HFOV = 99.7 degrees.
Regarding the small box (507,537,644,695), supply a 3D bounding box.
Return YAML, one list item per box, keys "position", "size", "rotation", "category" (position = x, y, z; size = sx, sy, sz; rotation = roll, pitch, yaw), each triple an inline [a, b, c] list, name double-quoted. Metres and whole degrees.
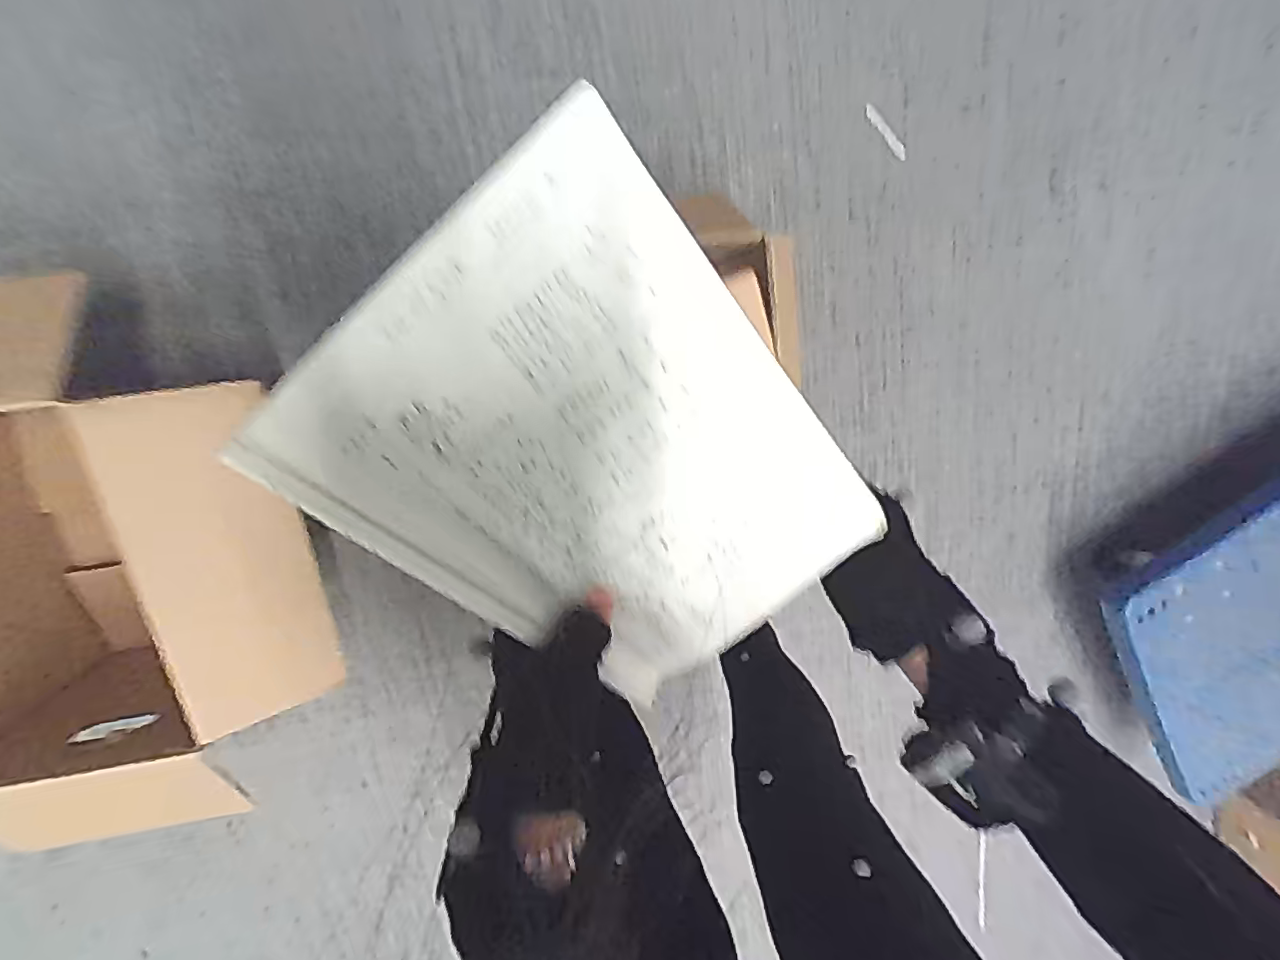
- position: [-0.109, 0.225, 0.915]
  size: [0.179, 0.176, 0.168]
  rotation: [20, 110, 5]
  category: "small box"
